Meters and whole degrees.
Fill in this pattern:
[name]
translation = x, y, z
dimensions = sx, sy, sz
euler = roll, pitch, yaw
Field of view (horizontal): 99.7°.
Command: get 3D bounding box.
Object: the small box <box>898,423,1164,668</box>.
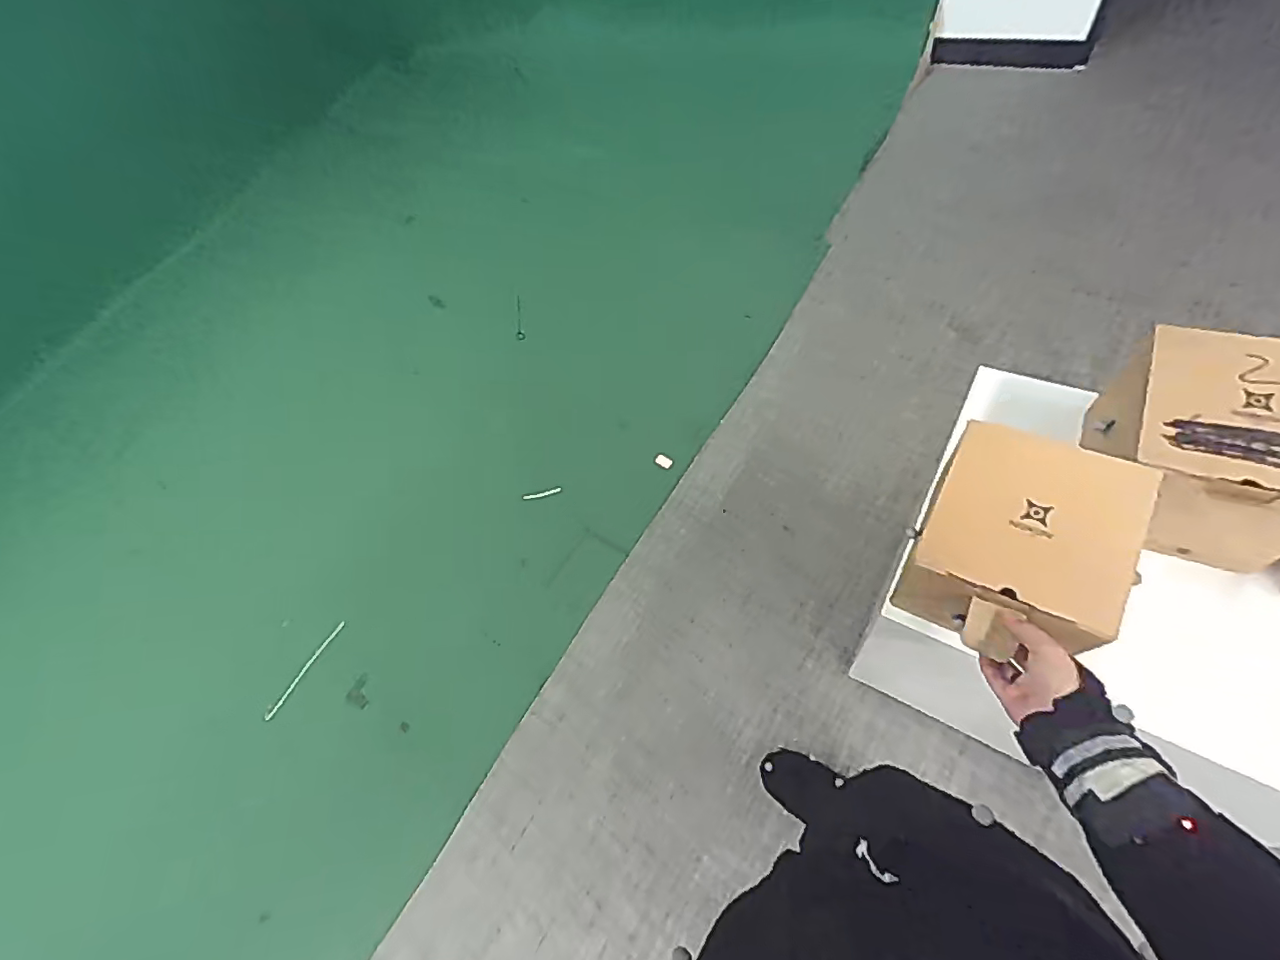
[small box]
translation = 0.396, 0.074, 0.578
dimensions = 0.168, 0.176, 0.179
euler = 23, 71, 26
